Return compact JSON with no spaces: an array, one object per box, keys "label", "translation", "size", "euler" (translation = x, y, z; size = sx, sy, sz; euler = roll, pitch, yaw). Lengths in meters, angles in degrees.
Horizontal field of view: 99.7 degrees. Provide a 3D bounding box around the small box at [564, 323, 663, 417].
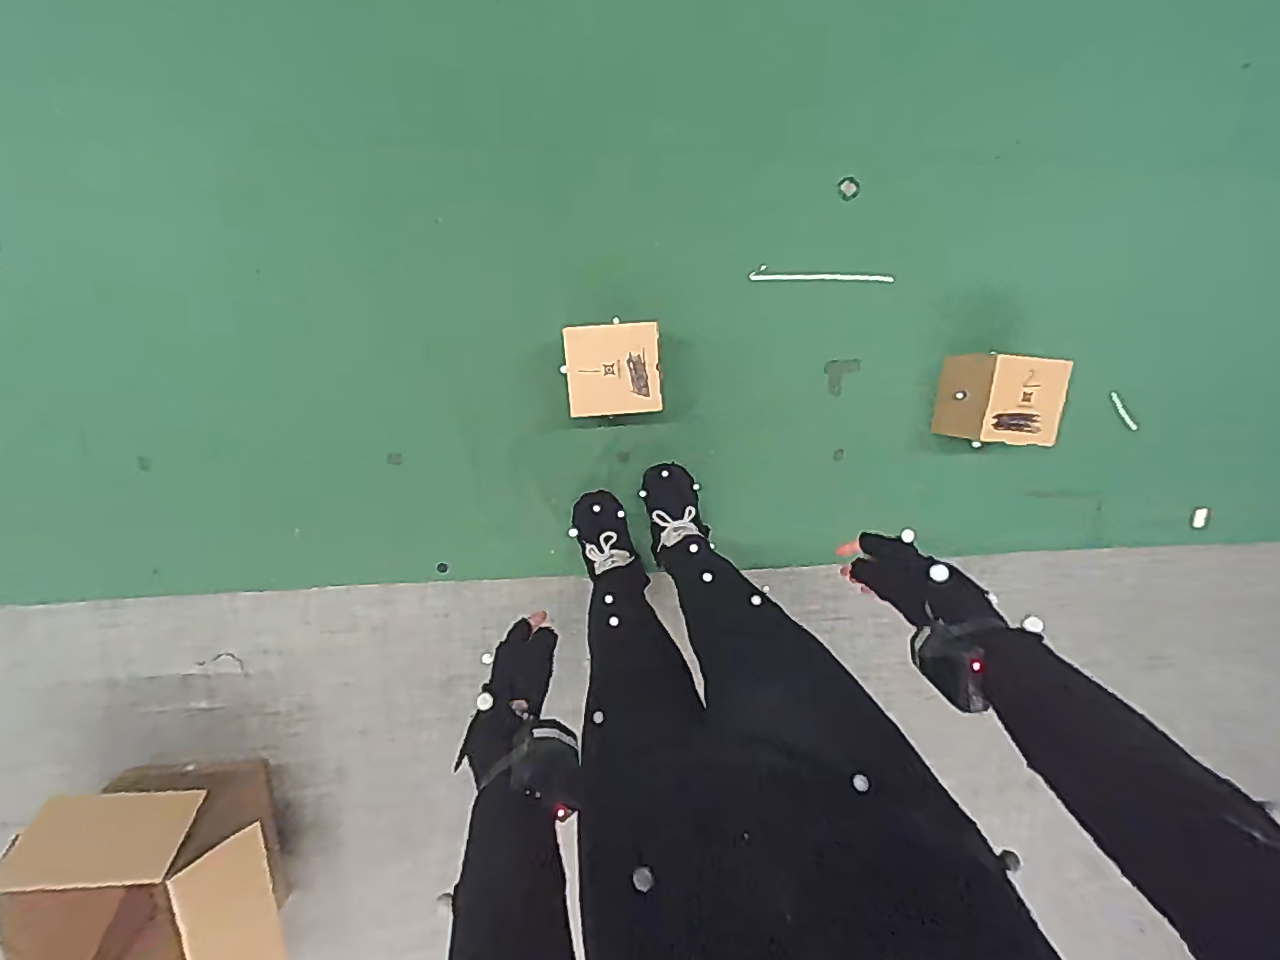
[{"label":"small box","translation":[-0.054,-0.219,1.071],"size":[0.179,0.176,0.168],"euler":[-4,102,-3]}]
